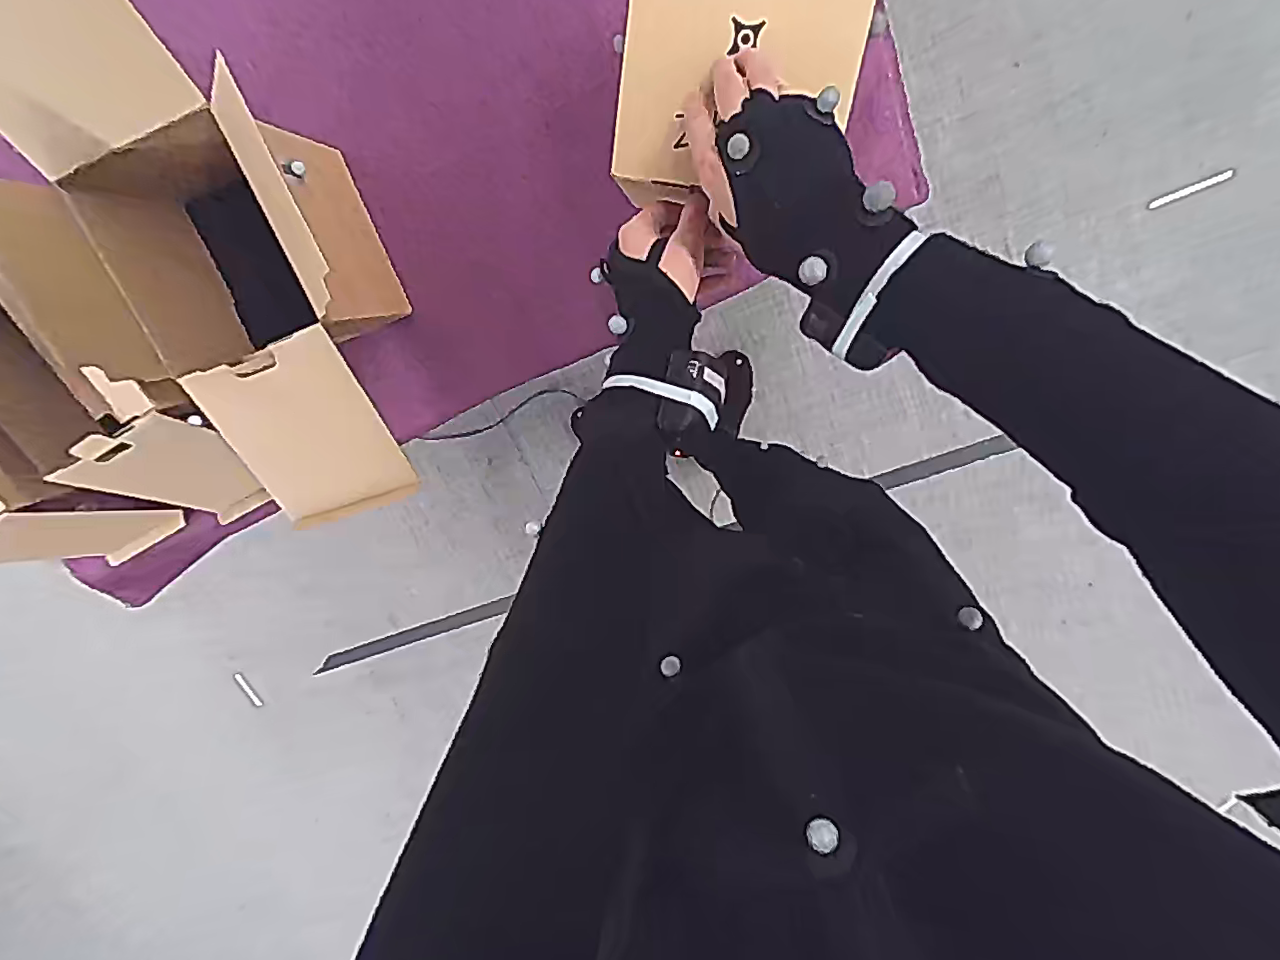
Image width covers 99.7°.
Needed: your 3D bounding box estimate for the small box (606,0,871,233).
[{"bbox_3d":[0.073,-0.319,0.451,0.168,0.176,0.179,10,111,3],"label":"small box"}]
